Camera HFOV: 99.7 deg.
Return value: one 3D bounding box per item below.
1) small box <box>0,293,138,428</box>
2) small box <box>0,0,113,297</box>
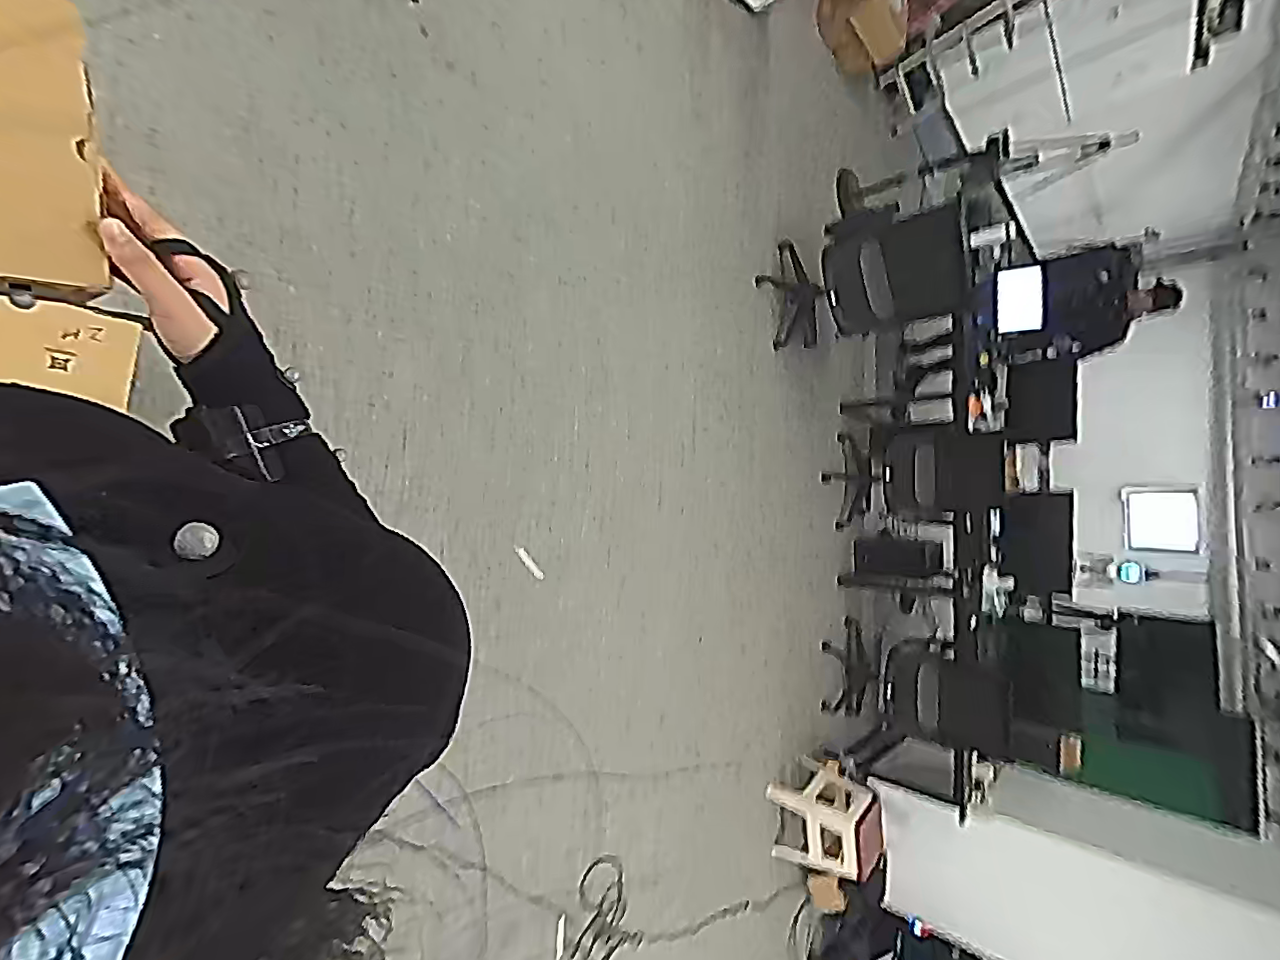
[{"bbox_3d":[-0.956,-0.188,0.887,0.168,0.176,0.179,12,79,-46],"label":"small box"},{"bbox_3d":[-0.452,-0.207,0.319,0.179,0.176,0.168,-10,107,-50],"label":"small box"}]
